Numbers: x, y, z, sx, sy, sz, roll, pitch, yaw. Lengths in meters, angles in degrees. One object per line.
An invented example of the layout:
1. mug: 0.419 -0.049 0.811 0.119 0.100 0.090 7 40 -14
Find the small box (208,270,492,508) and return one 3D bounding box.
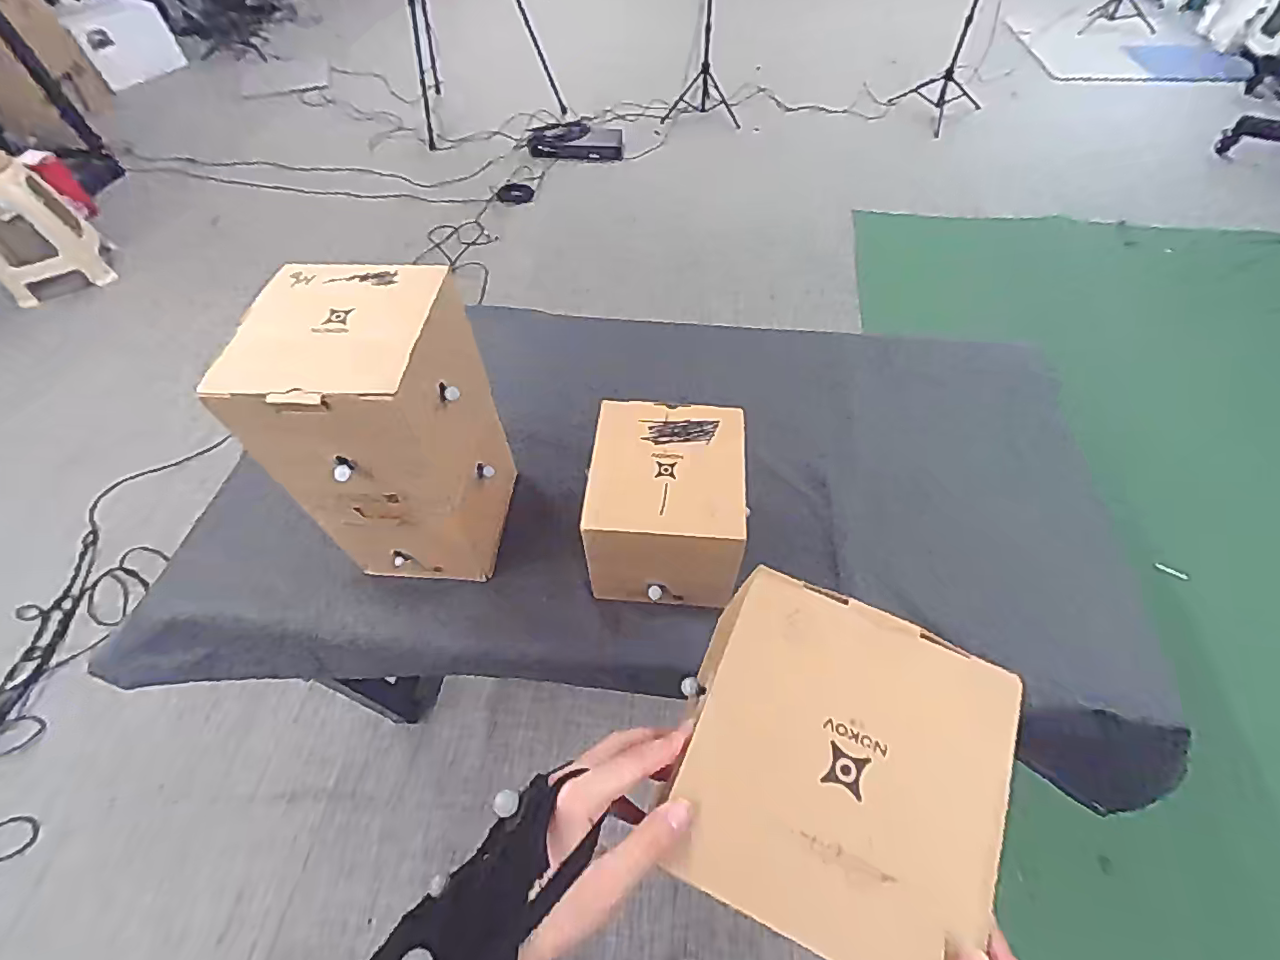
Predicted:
1. small box: -0.259 -0.085 0.540 0.168 0.176 0.179 1 55 2

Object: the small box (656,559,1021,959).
1. small box: 0.114 0.185 0.367 0.168 0.176 0.179 22 65 11

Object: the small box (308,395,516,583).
1. small box: -0.261 0.009 0.674 0.168 0.176 0.179 3 54 3

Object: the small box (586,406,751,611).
1. small box: 0.036 0.035 0.642 0.168 0.176 0.179 3 53 4
